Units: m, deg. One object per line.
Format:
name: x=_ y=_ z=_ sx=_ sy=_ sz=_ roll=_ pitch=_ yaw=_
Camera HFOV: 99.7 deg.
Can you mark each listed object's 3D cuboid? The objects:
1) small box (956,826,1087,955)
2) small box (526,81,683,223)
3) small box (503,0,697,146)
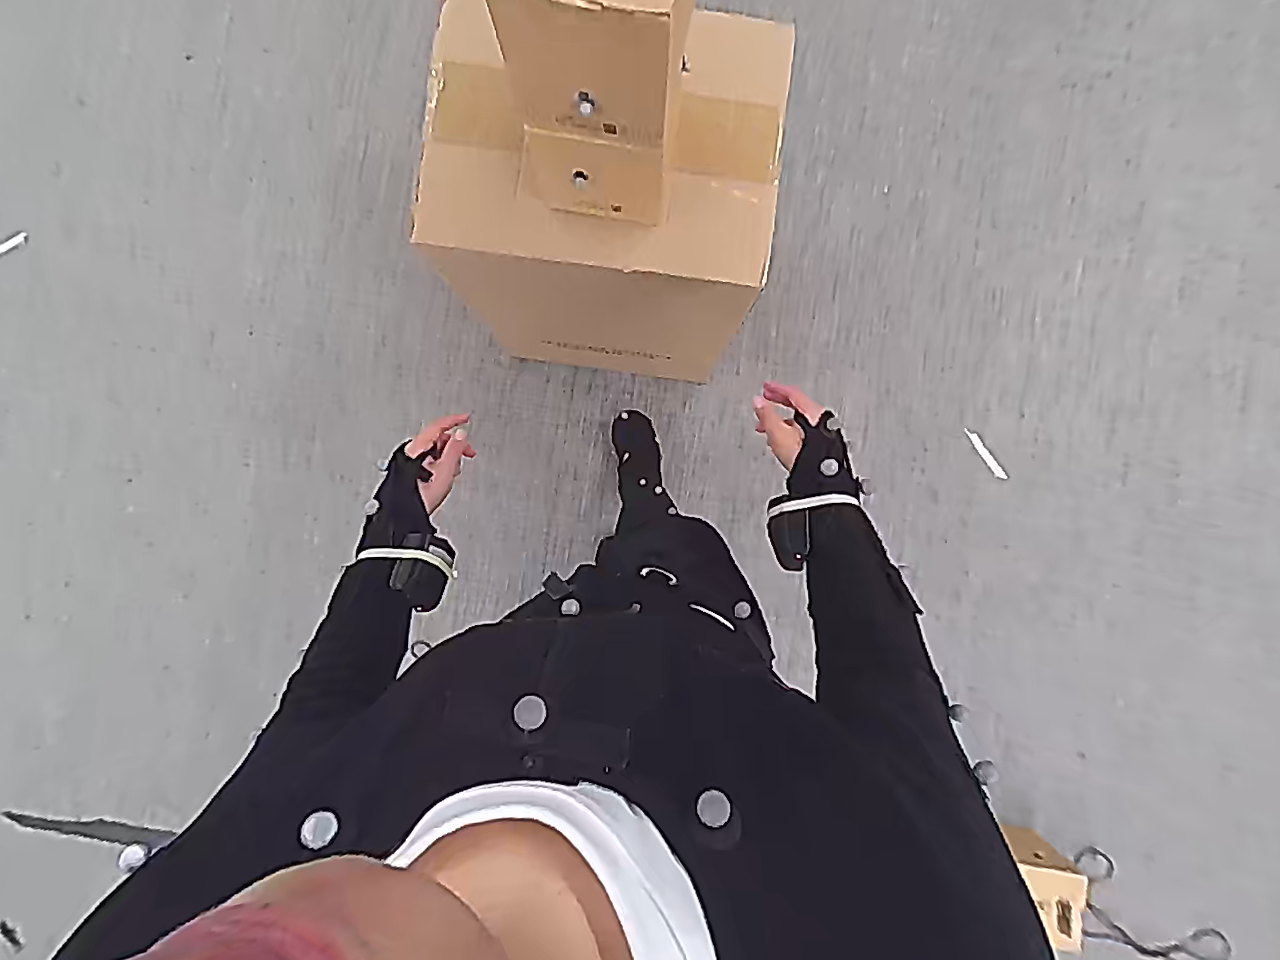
small box: x=0.875 y=0.938 z=1.252 sx=0.179 sy=0.176 sz=0.168 roll=9 pitch=86 yaw=1
small box: x=-0.036 y=-0.464 z=0.700 sx=0.168 sy=0.176 sz=0.179 roll=10 pitch=86 yaw=0
small box: x=-0.031 y=-0.480 z=0.535 sx=0.168 sy=0.176 sz=0.179 roll=12 pitch=86 yaw=1
